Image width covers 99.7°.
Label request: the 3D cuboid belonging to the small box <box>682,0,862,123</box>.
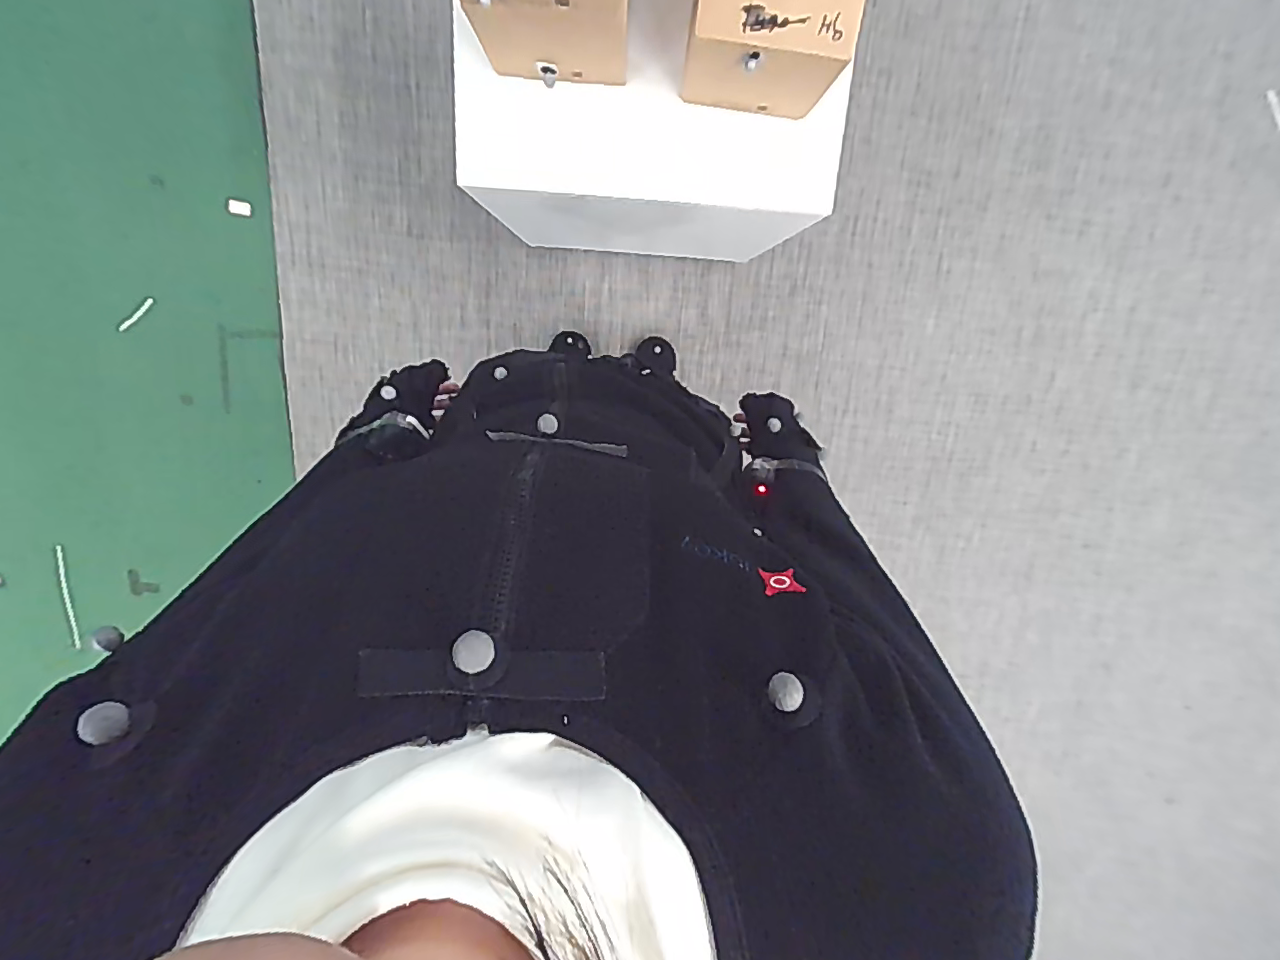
[{"bbox_3d":[0.144,-0.540,0.606,0.168,0.176,0.179,7,105,-3],"label":"small box"}]

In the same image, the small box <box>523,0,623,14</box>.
[{"bbox_3d":[-0.089,-0.526,0.437,0.168,0.176,0.179,4,105,-2],"label":"small box"}]

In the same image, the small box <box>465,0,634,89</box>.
[{"bbox_3d":[-0.091,-0.569,0.595,0.168,0.176,0.179,2,107,-1],"label":"small box"}]
